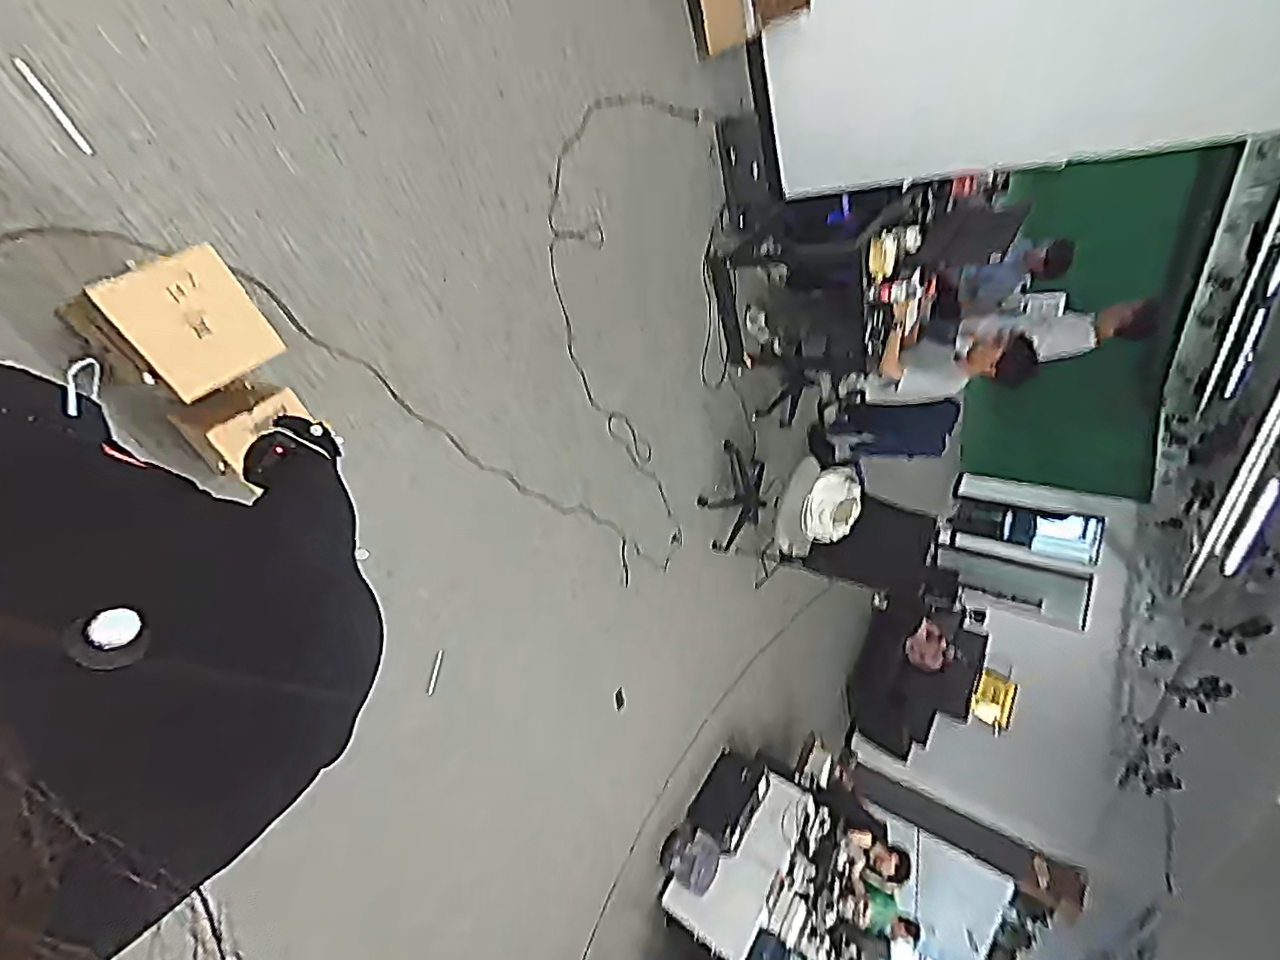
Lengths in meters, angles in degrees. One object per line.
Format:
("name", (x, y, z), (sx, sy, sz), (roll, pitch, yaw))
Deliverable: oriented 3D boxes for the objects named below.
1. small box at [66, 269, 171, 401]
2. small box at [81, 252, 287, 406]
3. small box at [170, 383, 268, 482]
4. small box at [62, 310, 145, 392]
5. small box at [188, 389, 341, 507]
("small box", (-0.843, -0.263, 0.954), (0.168, 0.176, 0.179), (-48, 133, -32))
("small box", (-0.714, -0.238, 0.853), (0.168, 0.176, 0.179), (-47, 132, -33))
("small box", (-0.892, -0.105, 1.207), (0.168, 0.176, 0.179), (-46, 133, -34))
("small box", (-0.965, -0.293, 1.058), (0.179, 0.176, 0.168), (-46, 132, -32))
("small box", (-0.766, -0.073, 1.104), (0.168, 0.176, 0.179), (-46, 135, -33))
